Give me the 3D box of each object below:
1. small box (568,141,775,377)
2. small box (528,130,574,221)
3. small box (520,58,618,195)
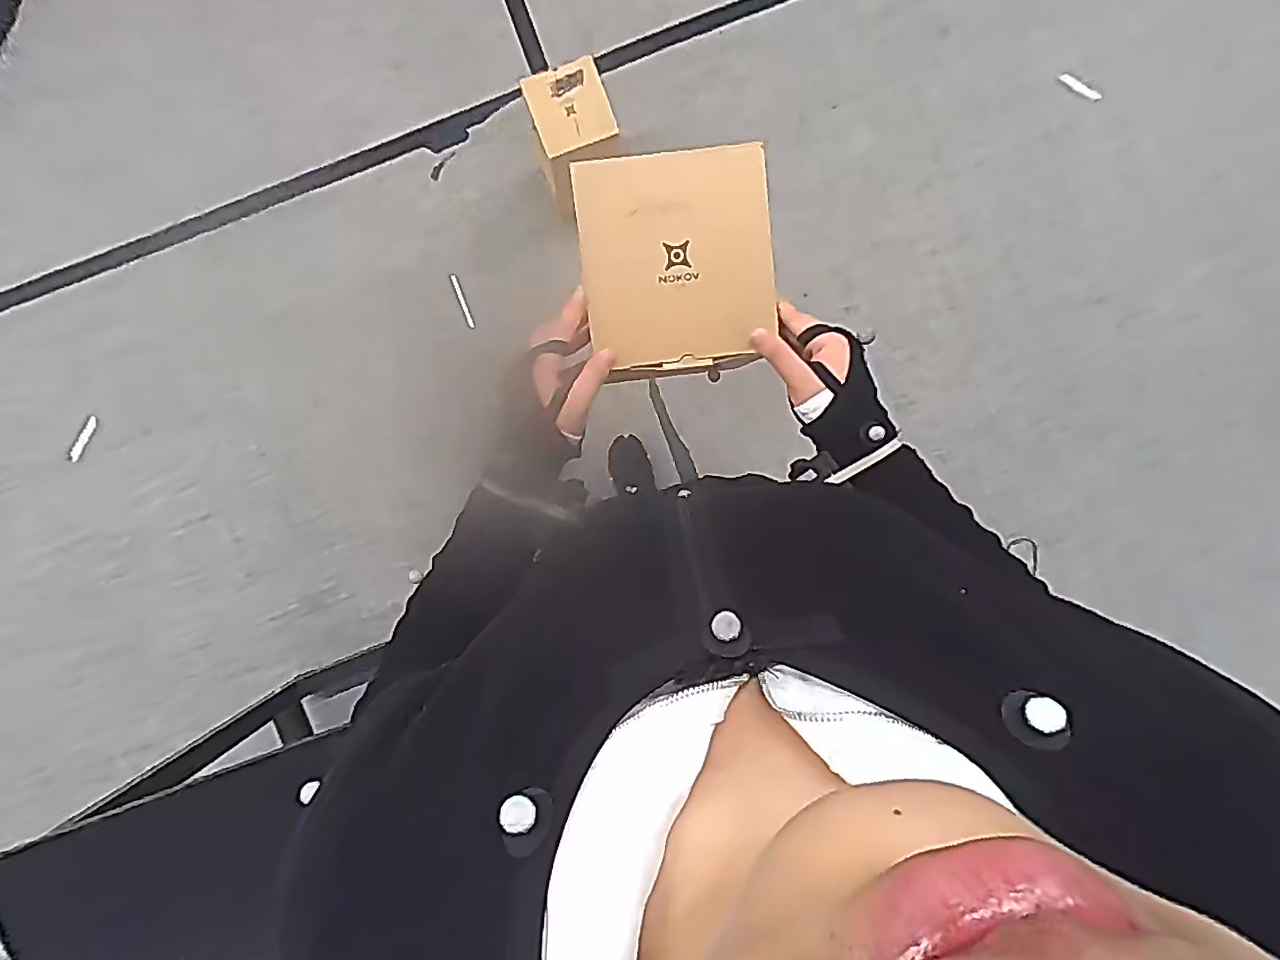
[{"bbox_3d":[0.026,-0.200,0.541,0.168,0.176,0.179,-7,97,-2],"label":"small box"},{"bbox_3d":[-0.166,-0.801,1.391,0.179,0.176,0.168,-21,93,-2],"label":"small box"},{"bbox_3d":[-0.155,-0.791,1.227,0.168,0.176,0.179,-21,93,-1],"label":"small box"}]
